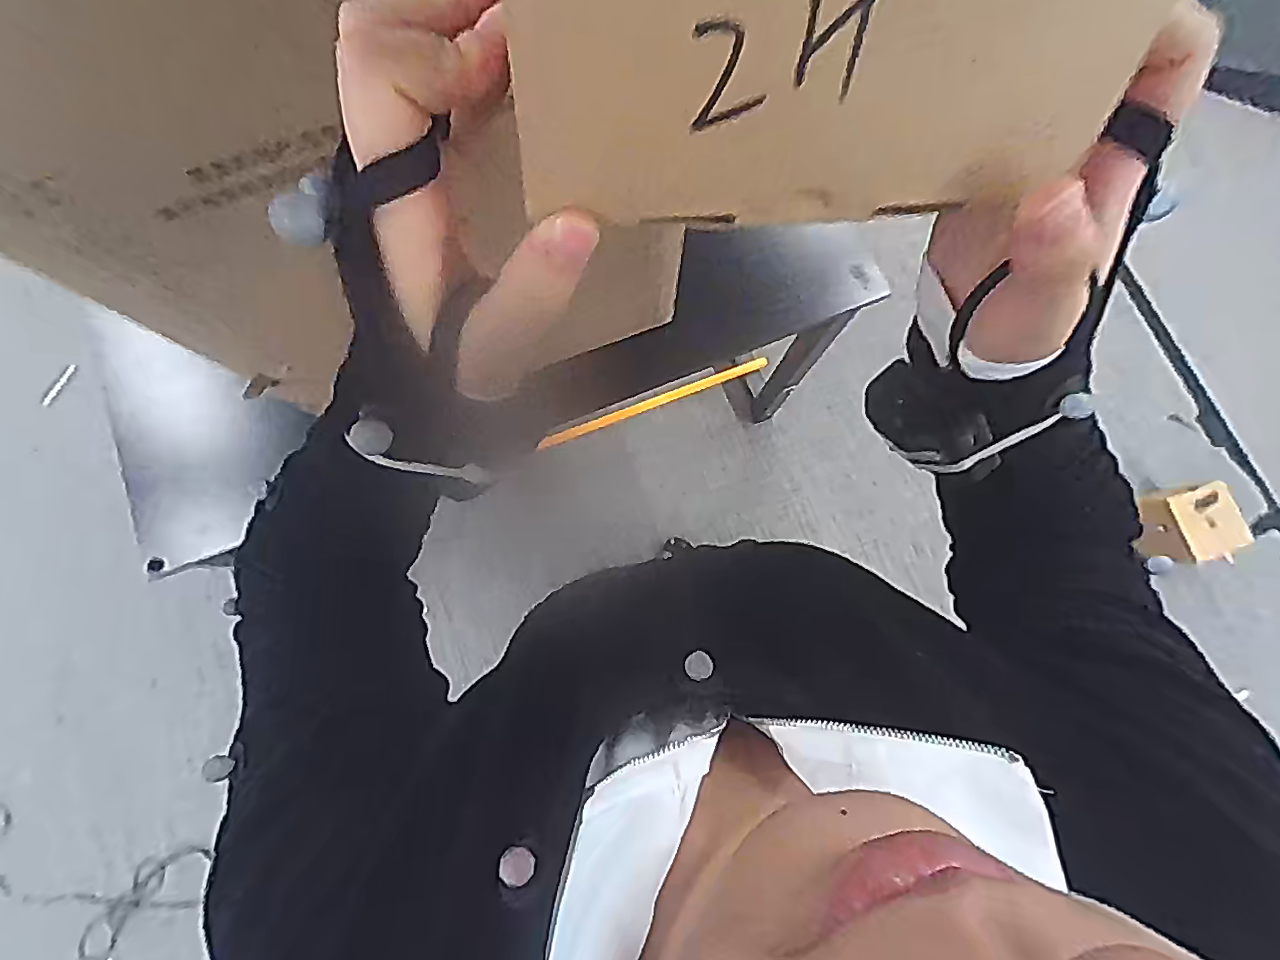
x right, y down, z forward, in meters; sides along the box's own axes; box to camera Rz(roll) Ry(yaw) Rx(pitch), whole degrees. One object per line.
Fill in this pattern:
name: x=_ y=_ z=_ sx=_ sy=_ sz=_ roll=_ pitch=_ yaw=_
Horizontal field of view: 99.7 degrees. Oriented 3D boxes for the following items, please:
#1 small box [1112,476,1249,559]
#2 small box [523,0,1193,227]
small box: x=1.445 y=0.107 z=1.460 sx=0.168 sy=0.176 sz=0.179 roll=-19 pitch=82 yaw=-3
small box: x=0.046 y=-0.196 z=0.152 sx=0.168 sy=0.179 sz=0.176 roll=-4 pitch=50 yaw=-7
